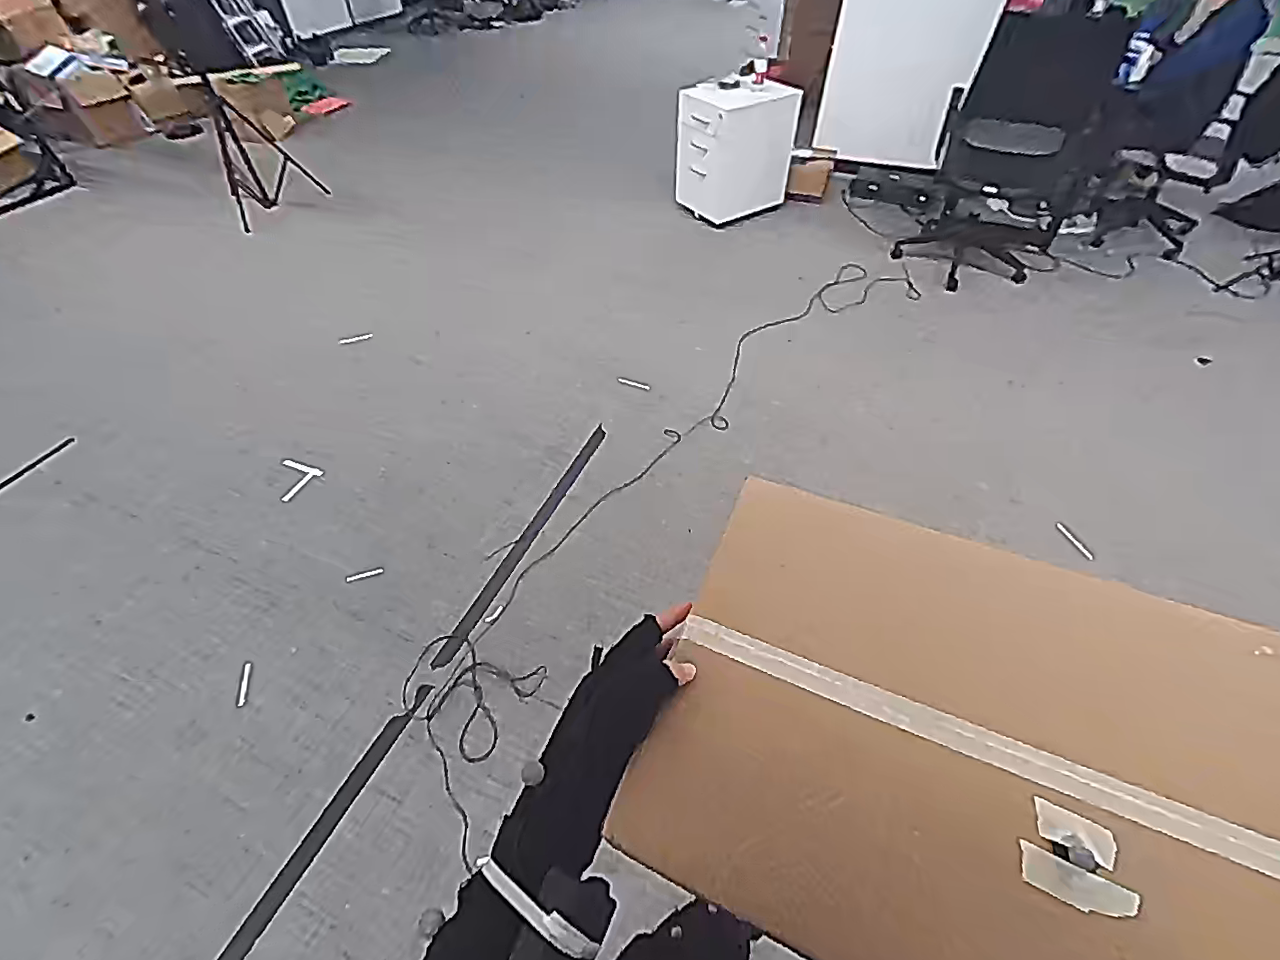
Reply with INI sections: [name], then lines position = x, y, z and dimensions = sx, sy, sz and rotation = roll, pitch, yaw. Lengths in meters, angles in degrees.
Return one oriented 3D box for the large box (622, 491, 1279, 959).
[large box]
position = 0.239, 0.264, 0.508
dimensions = 0.408, 0.320, 0.320
rotation = 18, 61, 19
